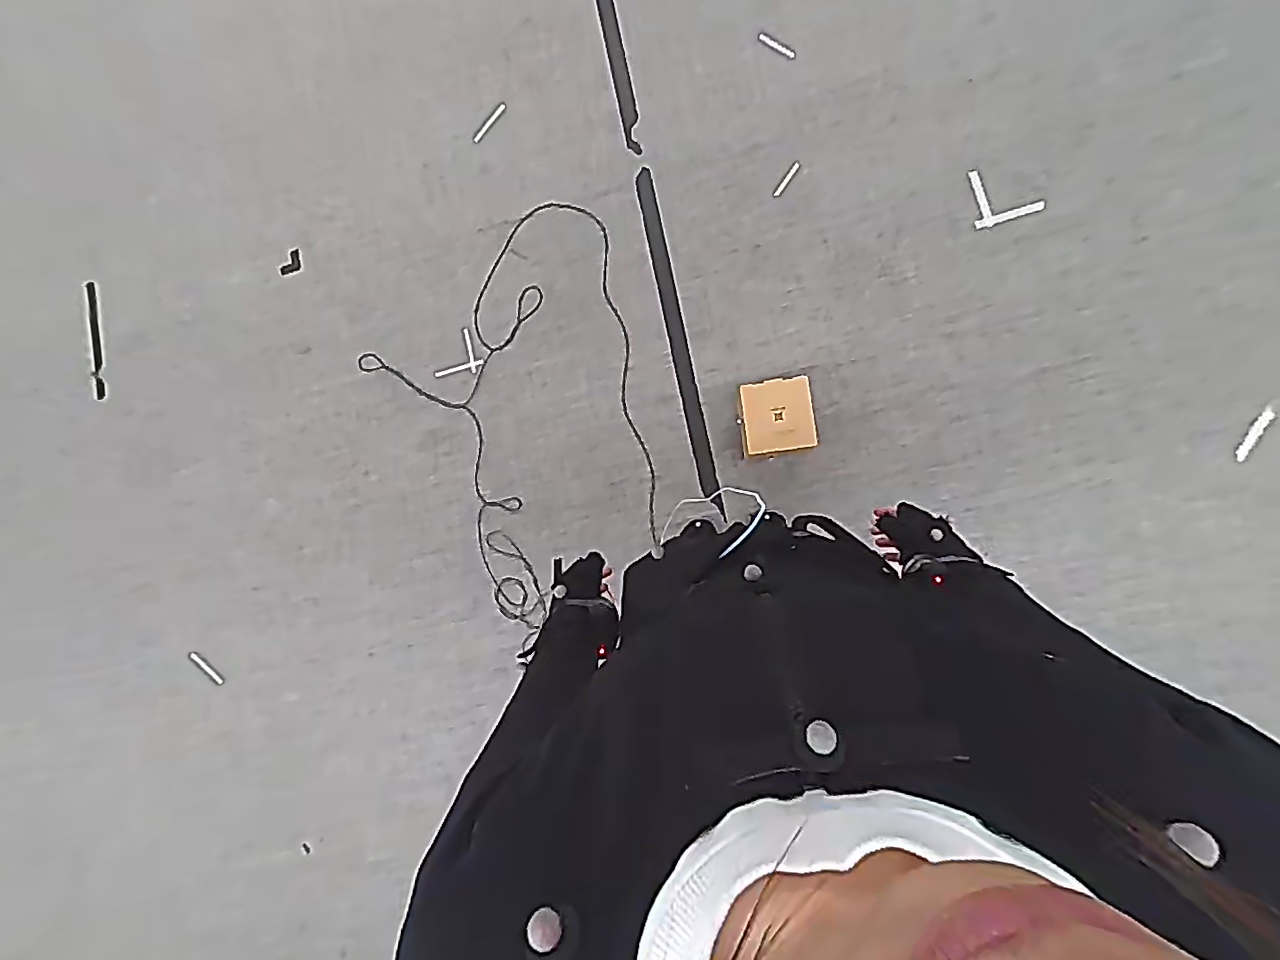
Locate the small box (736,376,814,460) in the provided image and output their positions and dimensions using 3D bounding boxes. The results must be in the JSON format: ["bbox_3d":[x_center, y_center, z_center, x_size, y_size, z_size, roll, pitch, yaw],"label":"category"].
[{"bbox_3d":[0.343,-0.154,1.398,0.168,0.176,0.179,-7,85,8],"label":"small box"}]
